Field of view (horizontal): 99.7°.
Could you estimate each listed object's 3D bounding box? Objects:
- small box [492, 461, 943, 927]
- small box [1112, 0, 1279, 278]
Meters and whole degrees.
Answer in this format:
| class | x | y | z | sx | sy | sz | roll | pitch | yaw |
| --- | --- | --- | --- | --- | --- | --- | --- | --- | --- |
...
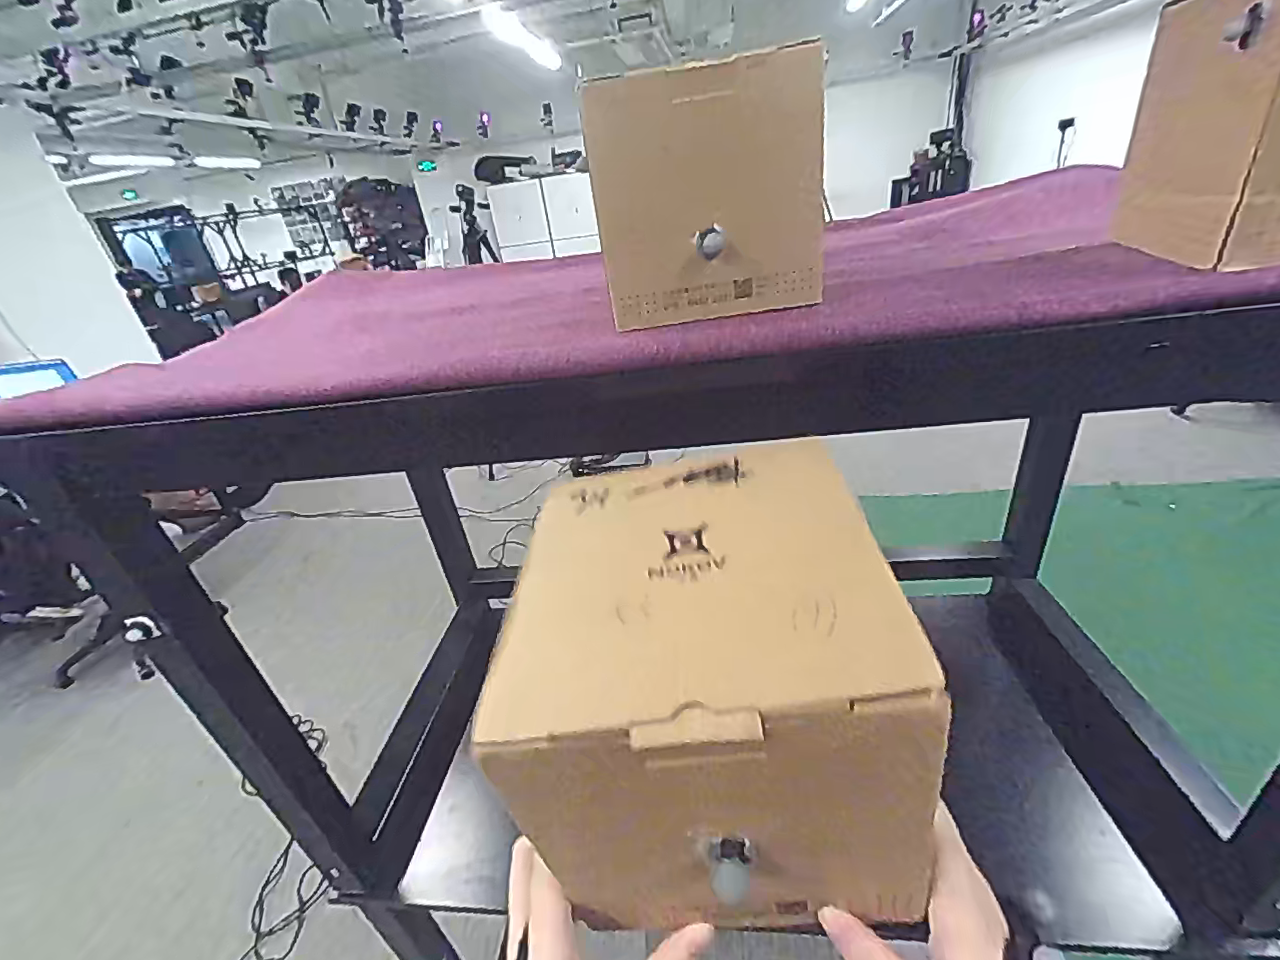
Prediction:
| class | x | y | z | sx | sy | sz | roll | pitch | yaw |
| --- | --- | --- | --- | --- | --- | --- | --- | --- | --- |
| small box | 0.044 | 0.115 | 0.299 | 0.168 | 0.176 | 0.179 | -10 | 31 | 8 |
| small box | 0.458 | -0.237 | 0.353 | 0.168 | 0.176 | 0.179 | 1 | 31 | 18 |
